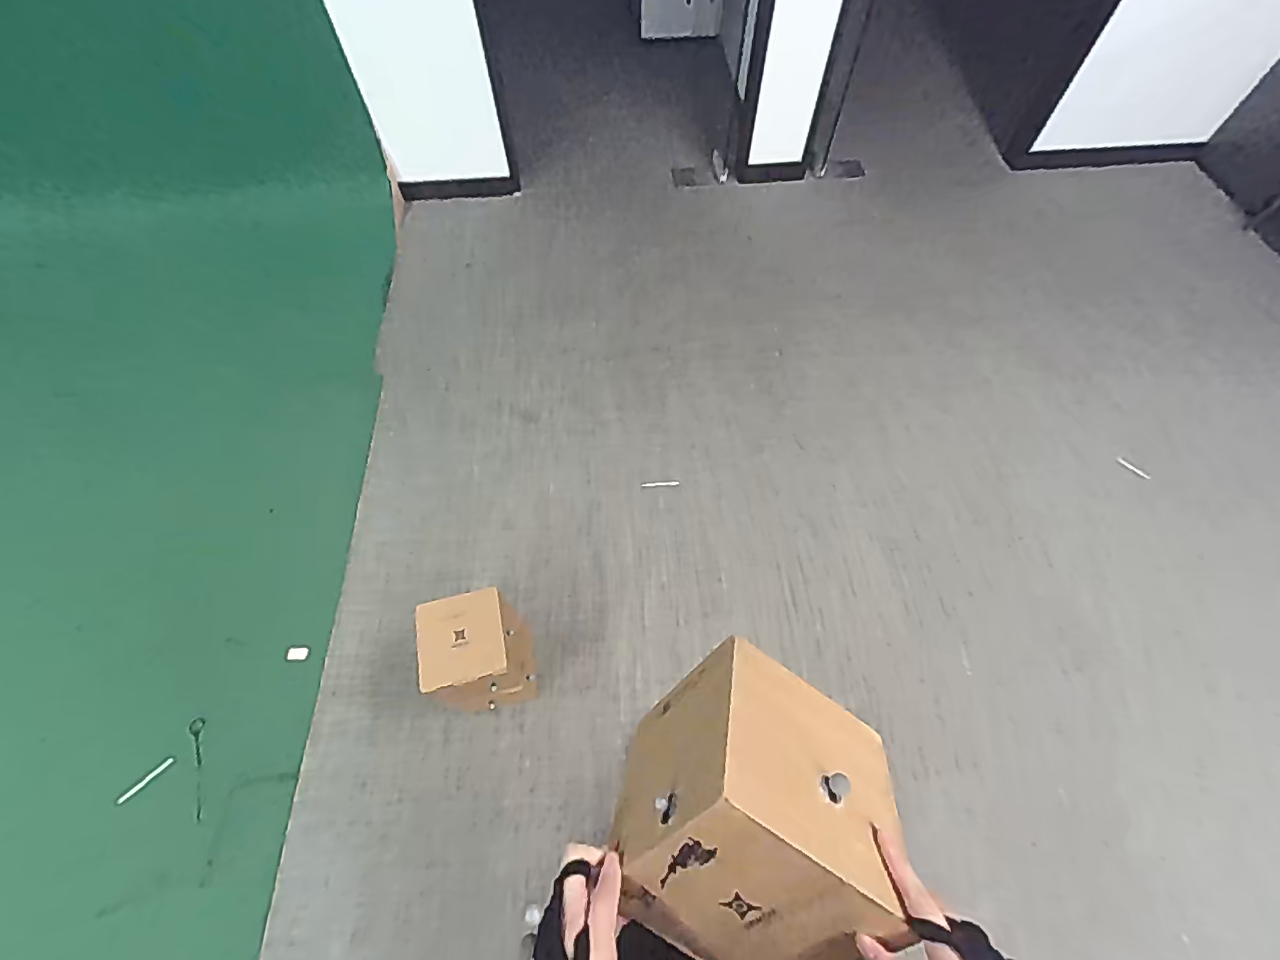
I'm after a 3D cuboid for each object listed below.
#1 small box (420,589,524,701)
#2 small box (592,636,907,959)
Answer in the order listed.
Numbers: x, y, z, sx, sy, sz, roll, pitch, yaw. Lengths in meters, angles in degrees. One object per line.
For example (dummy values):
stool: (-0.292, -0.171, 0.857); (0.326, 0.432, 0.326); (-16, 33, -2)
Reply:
small box: (-0.347, 0.352, 1.130); (0.168, 0.176, 0.179); (-12, 60, -7)
small box: (0.090, 0.274, 0.474); (0.179, 0.168, 0.176); (35, 26, -4)
